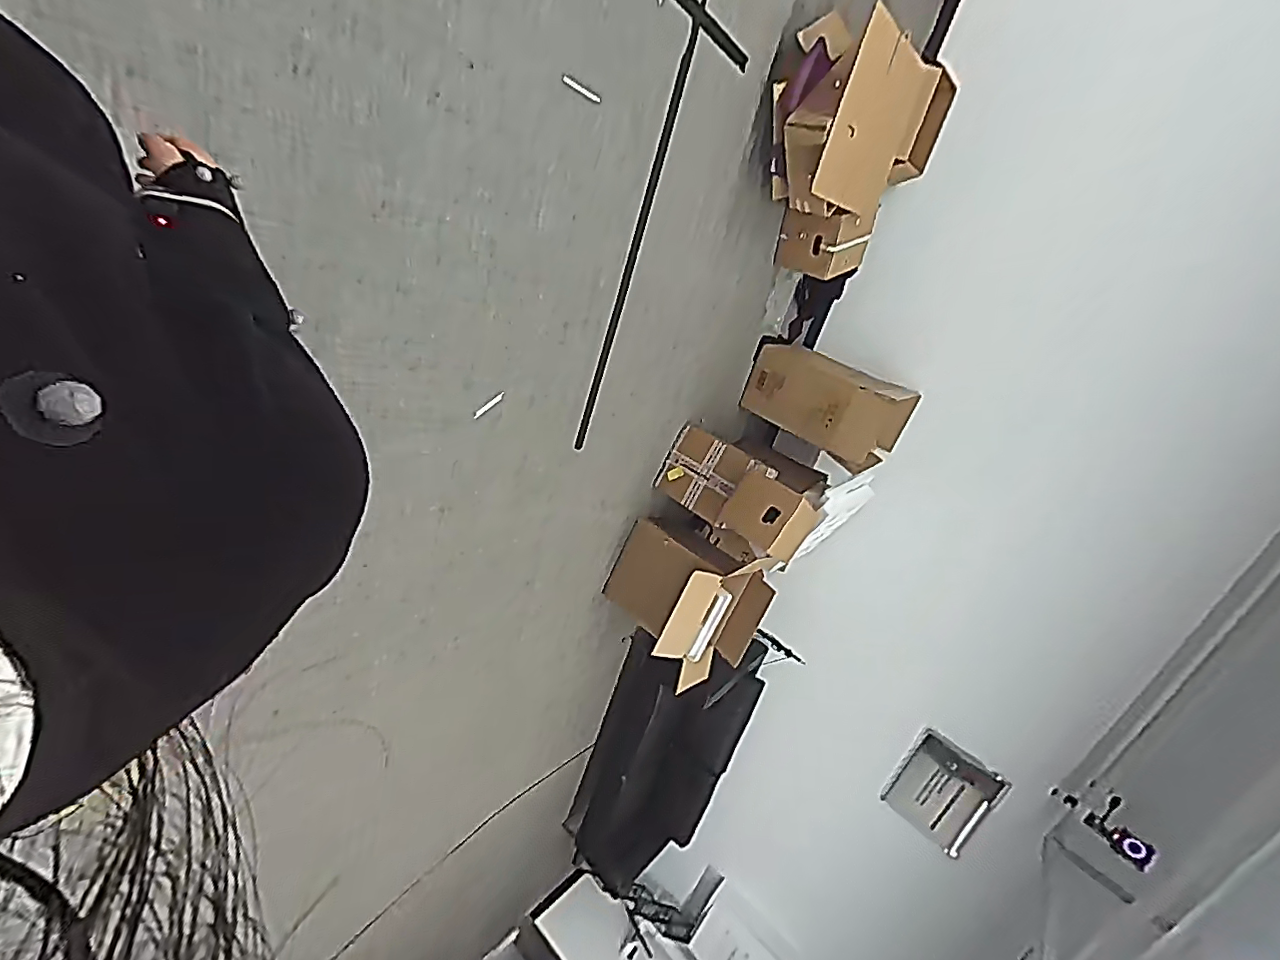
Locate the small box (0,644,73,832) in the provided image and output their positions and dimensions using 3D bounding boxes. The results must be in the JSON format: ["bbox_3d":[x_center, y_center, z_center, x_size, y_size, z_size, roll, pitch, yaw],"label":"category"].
[{"bbox_3d":[-0.845,0.330,0.678,0.168,0.176,0.179,-7,121,-51],"label":"small box"}]
